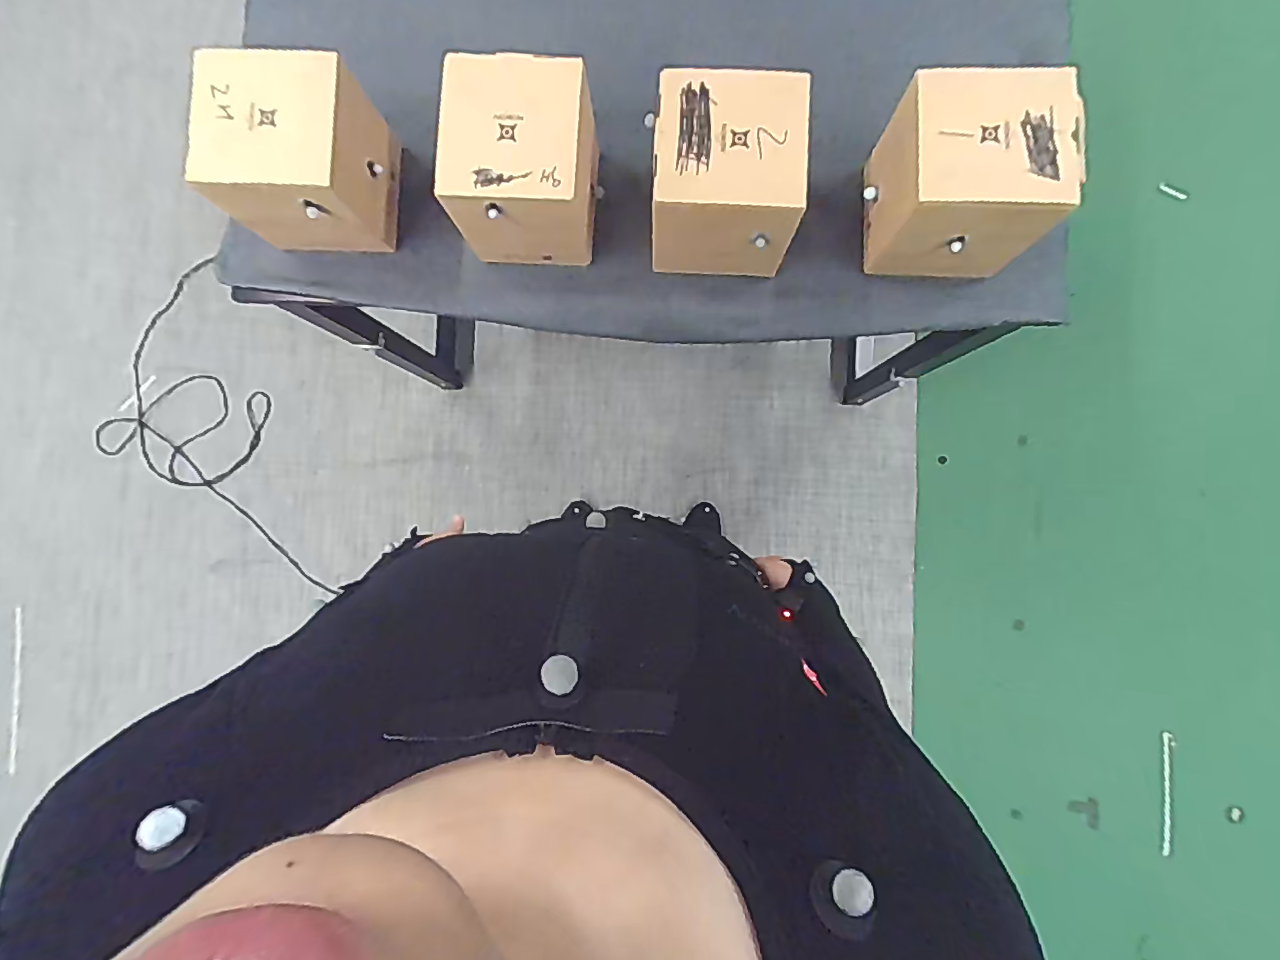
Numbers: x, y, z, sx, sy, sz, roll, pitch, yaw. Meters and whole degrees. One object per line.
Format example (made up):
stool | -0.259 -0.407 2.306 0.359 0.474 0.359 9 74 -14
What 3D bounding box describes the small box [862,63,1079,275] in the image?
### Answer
small box | 0.399 -0.373 0.676 0.179 0.176 0.168 3 84 4
